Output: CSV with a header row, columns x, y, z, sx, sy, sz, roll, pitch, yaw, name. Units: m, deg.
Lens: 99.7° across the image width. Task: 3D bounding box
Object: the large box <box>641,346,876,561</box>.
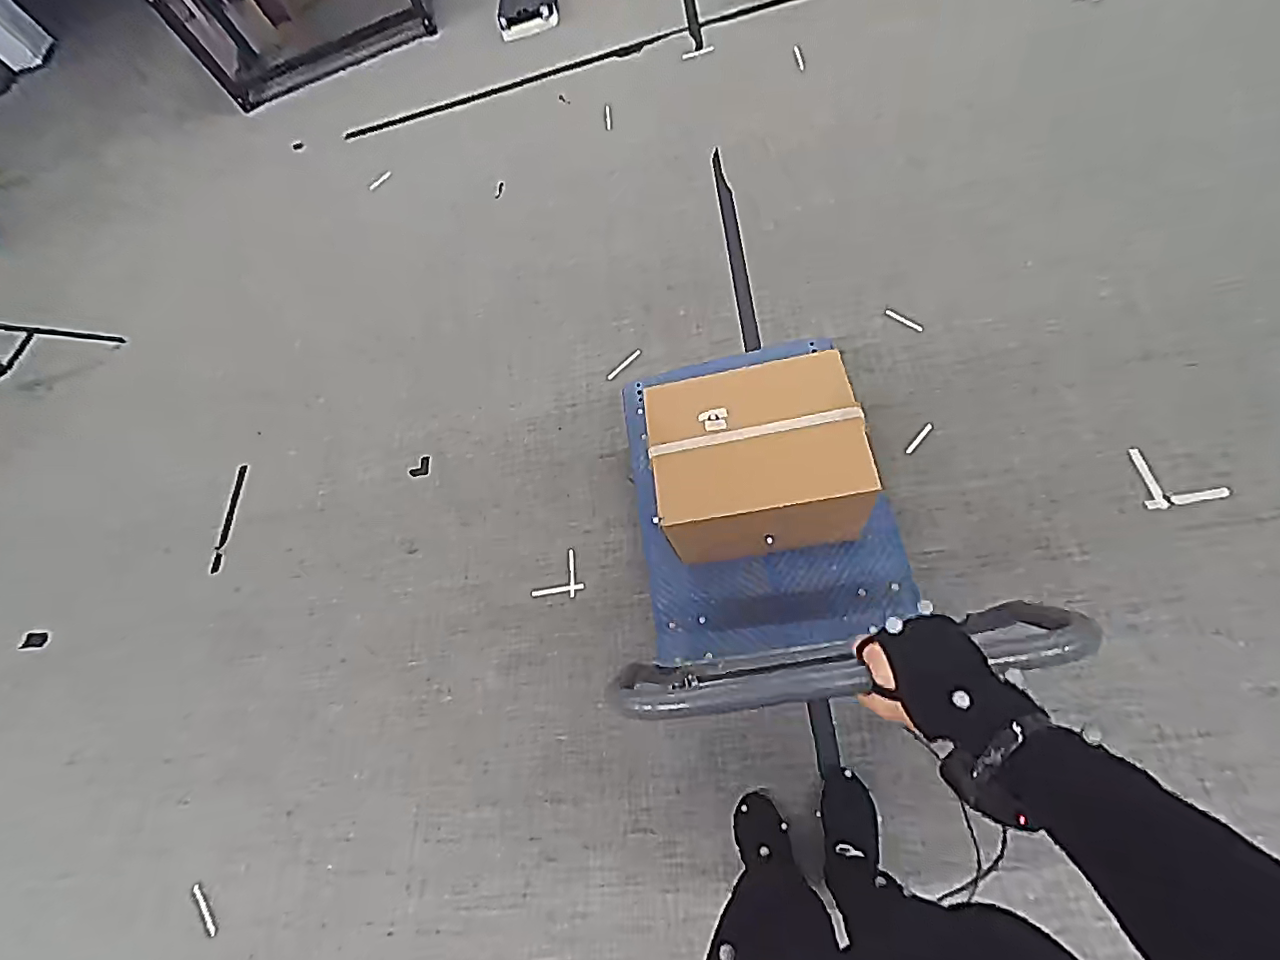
x,y,z,sx,sy,sz,roll,pitch,yaw,name
0.245,-0.036,1.177,0.408,0.320,0.320,-11,64,10,large box
